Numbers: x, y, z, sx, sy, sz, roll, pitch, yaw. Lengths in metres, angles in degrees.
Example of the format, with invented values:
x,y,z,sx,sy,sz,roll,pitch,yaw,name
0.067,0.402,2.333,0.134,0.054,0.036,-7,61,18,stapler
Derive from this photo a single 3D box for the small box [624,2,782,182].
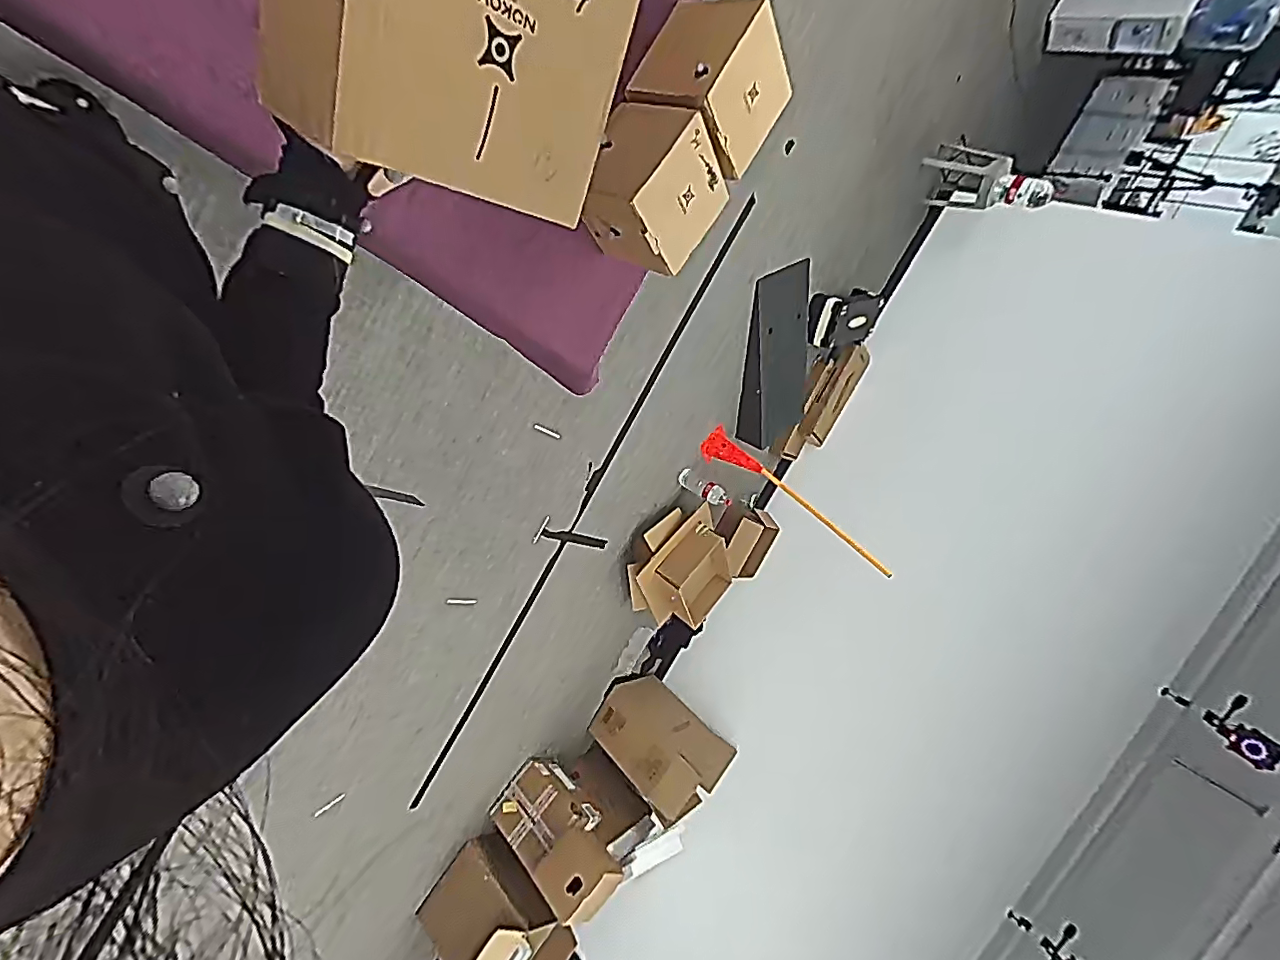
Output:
x,y,z,sx,sy,sz,roll,pitch,yaw,name
0.104,-0.636,0.891,0.179,0.176,0.168,-59,149,0,small box

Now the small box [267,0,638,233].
x,y,z,sx,sy,sz,roll,pitch,yaw,name
-0.130,-0.295,0.359,0.168,0.176,0.179,-6,127,-45,small box
